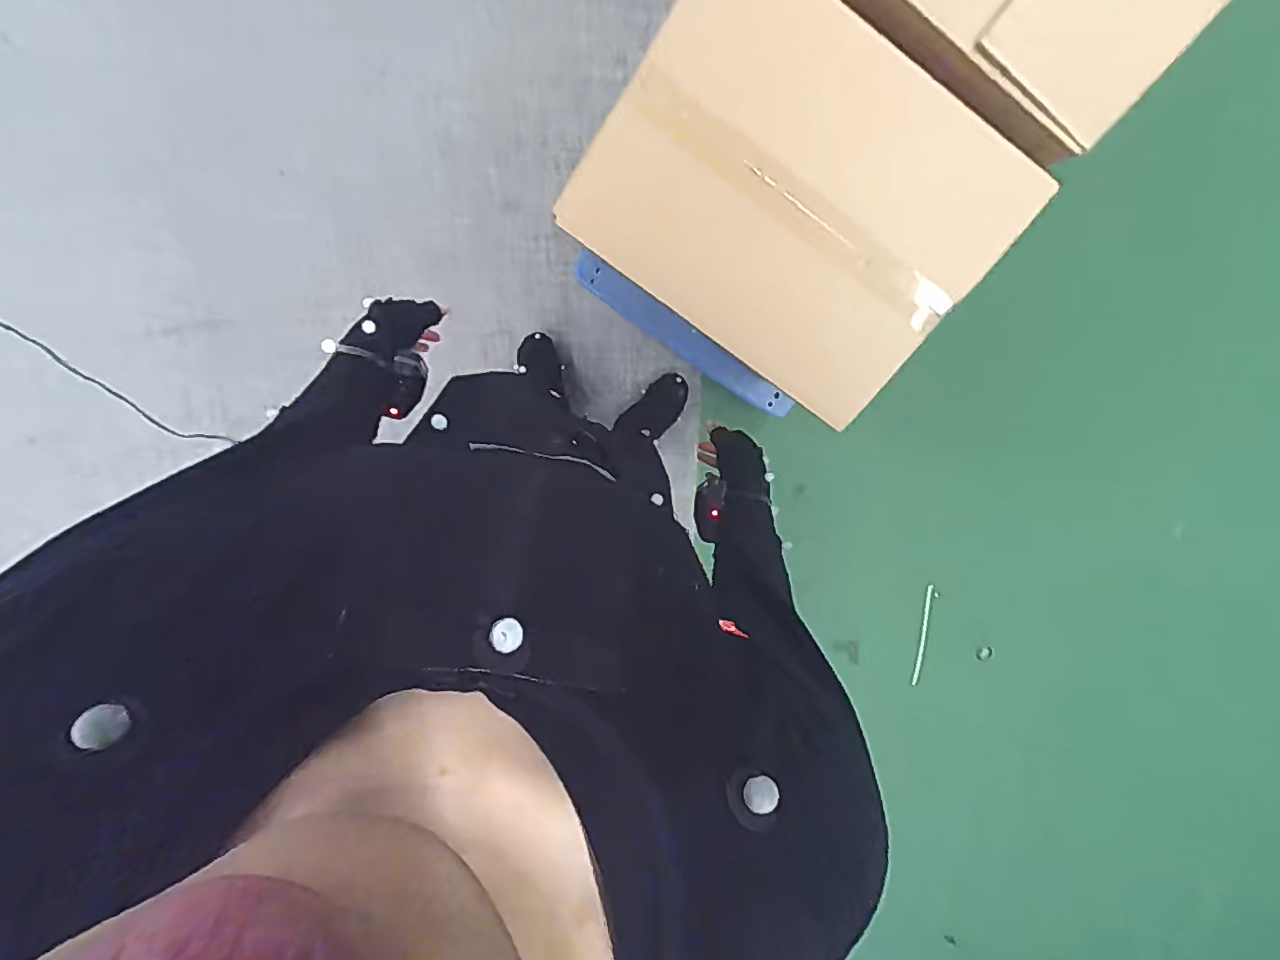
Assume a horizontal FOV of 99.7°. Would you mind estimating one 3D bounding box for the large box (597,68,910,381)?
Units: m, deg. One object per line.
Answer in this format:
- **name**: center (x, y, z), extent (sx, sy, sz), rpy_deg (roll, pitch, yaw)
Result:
- **large box**: center (0.189, -0.428, 1.005), extent (0.408, 0.320, 0.320), rpy_deg (35, 103, -4)
